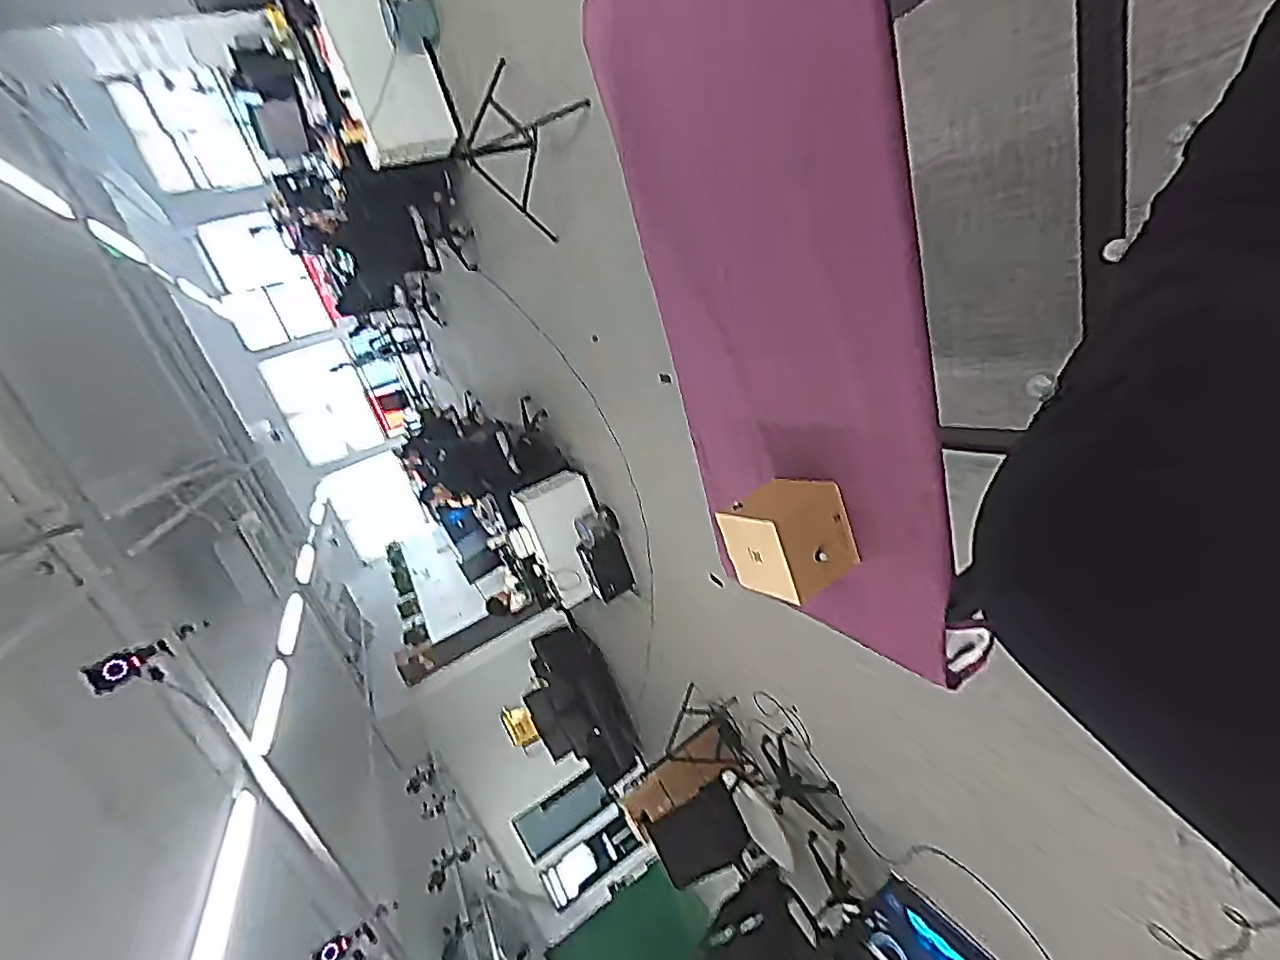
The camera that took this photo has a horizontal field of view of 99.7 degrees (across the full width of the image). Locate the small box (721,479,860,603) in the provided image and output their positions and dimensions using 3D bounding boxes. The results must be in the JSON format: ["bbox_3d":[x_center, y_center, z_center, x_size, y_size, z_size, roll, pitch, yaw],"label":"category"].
[{"bbox_3d":[0.291,0.105,1.028,0.179,0.176,0.168,3,117,65],"label":"small box"}]
